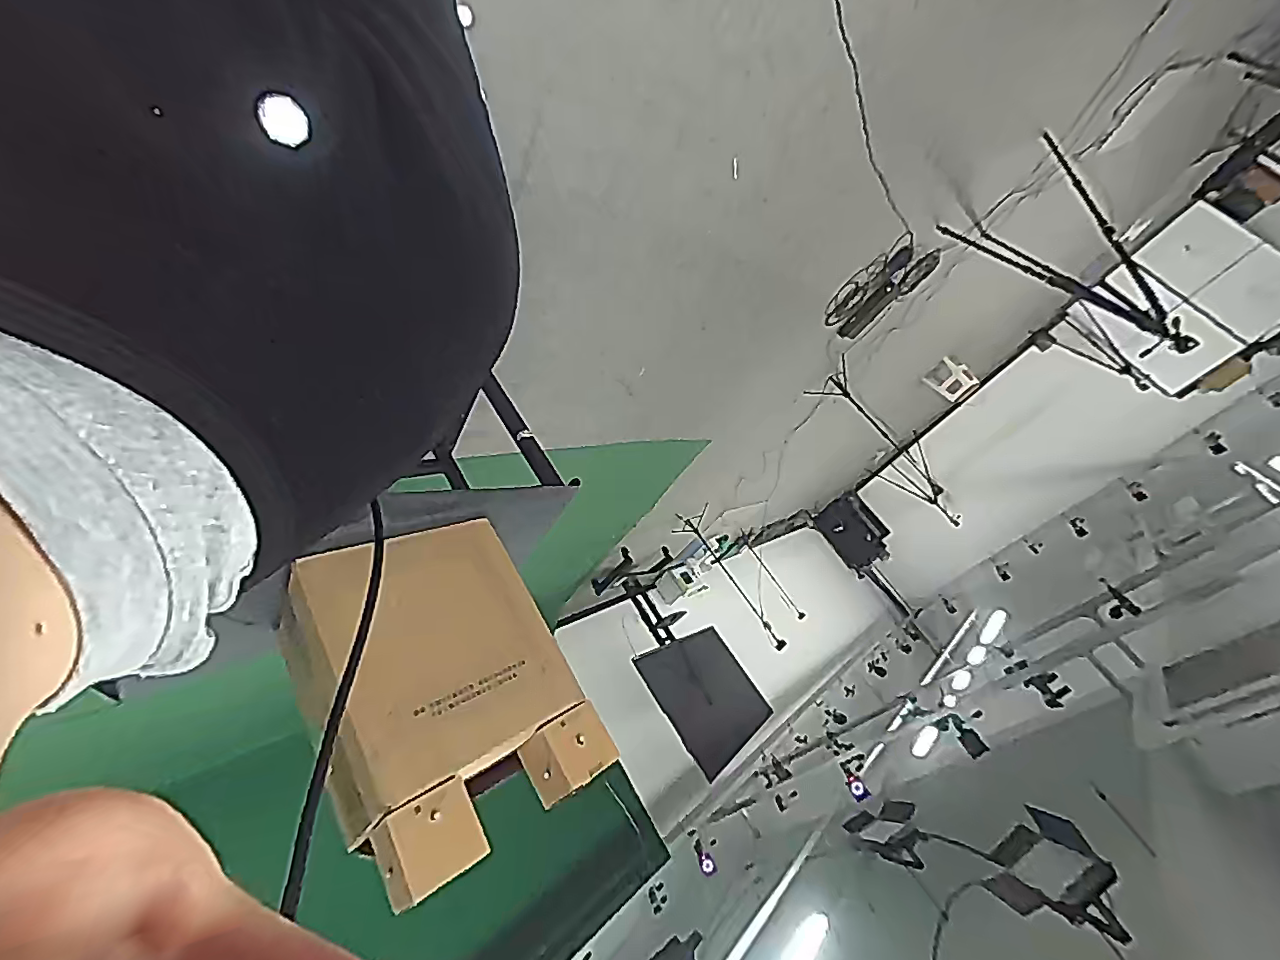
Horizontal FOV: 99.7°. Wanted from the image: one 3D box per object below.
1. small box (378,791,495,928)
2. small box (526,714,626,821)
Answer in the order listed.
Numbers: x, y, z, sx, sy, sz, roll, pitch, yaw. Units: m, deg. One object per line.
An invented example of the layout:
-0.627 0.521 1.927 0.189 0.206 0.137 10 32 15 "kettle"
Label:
-0.440 0.801 1.152 0.168 0.176 0.179 -11 147 -44 "small box"
-0.175 0.746 1.419 0.168 0.176 0.179 -12 148 -45 "small box"
